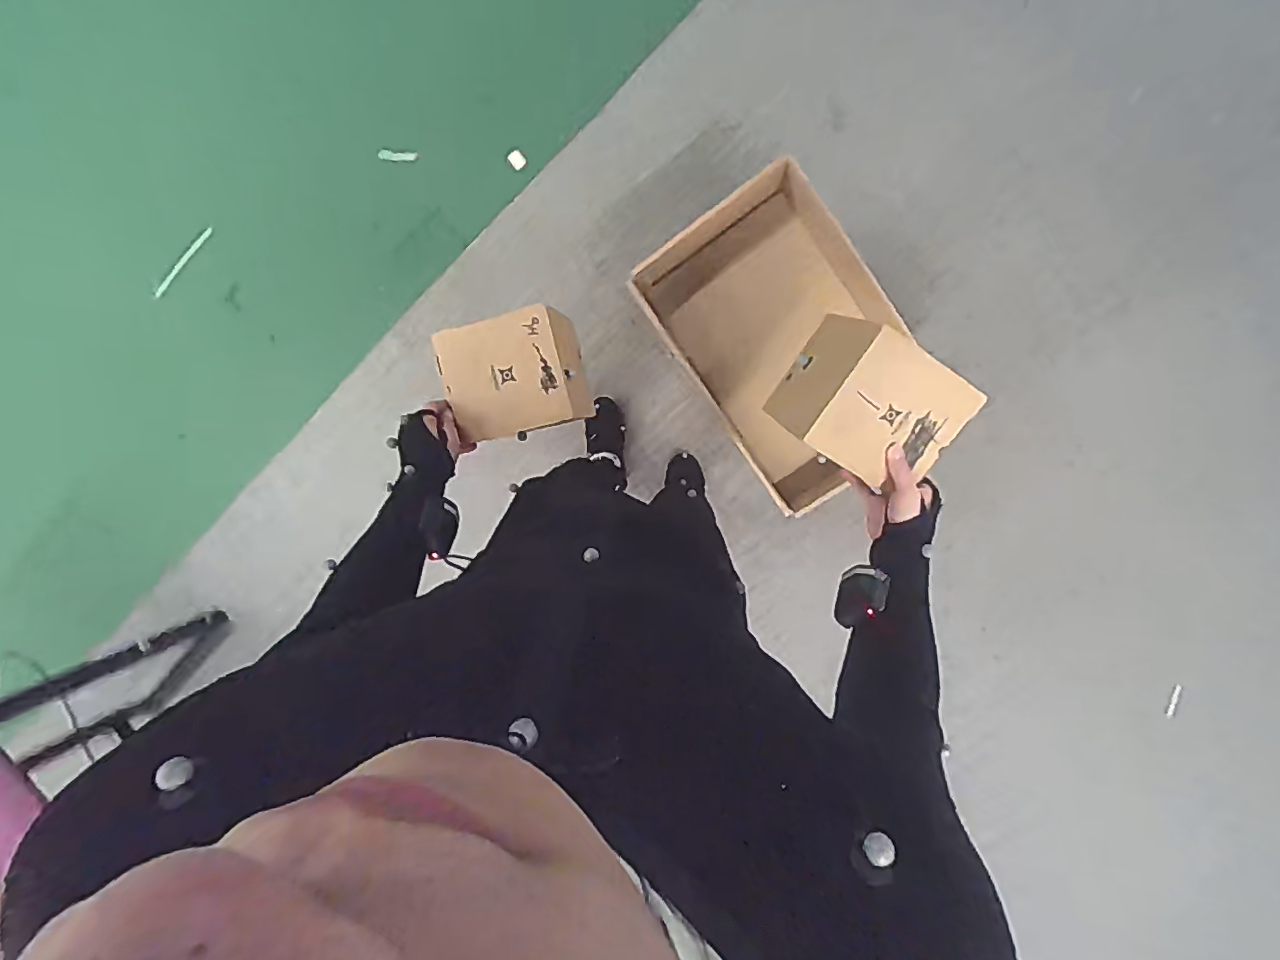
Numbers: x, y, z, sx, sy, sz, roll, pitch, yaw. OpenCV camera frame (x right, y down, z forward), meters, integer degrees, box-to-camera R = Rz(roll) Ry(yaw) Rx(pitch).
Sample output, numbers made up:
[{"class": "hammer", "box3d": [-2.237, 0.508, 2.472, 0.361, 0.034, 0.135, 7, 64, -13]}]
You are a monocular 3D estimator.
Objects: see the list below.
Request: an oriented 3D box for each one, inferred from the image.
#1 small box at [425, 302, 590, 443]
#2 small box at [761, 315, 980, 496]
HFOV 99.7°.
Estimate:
[{"class": "small box", "box3d": [-0.193, -0.158, 0.835, 0.179, 0.176, 0.168, -13, 97, 9]}, {"class": "small box", "box3d": [0.296, -0.110, 0.733, 0.179, 0.176, 0.168, 28, 105, -14]}]
